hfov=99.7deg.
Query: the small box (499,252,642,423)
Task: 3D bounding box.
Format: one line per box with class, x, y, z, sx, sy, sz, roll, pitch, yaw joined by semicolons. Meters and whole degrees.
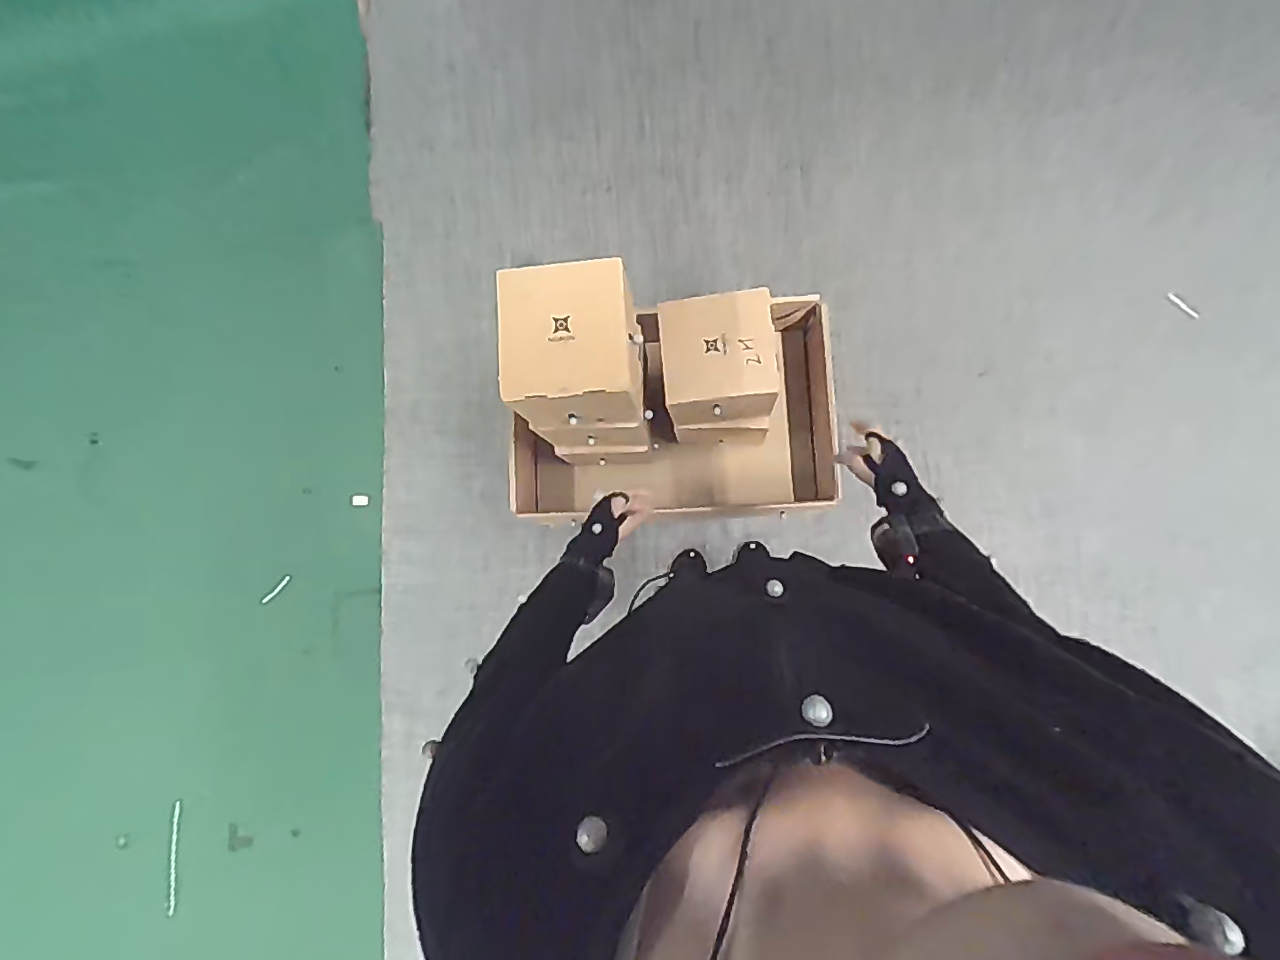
small box;-0.089;-0.188;0.754;0.168;0.176;0.179;-4;84;5
